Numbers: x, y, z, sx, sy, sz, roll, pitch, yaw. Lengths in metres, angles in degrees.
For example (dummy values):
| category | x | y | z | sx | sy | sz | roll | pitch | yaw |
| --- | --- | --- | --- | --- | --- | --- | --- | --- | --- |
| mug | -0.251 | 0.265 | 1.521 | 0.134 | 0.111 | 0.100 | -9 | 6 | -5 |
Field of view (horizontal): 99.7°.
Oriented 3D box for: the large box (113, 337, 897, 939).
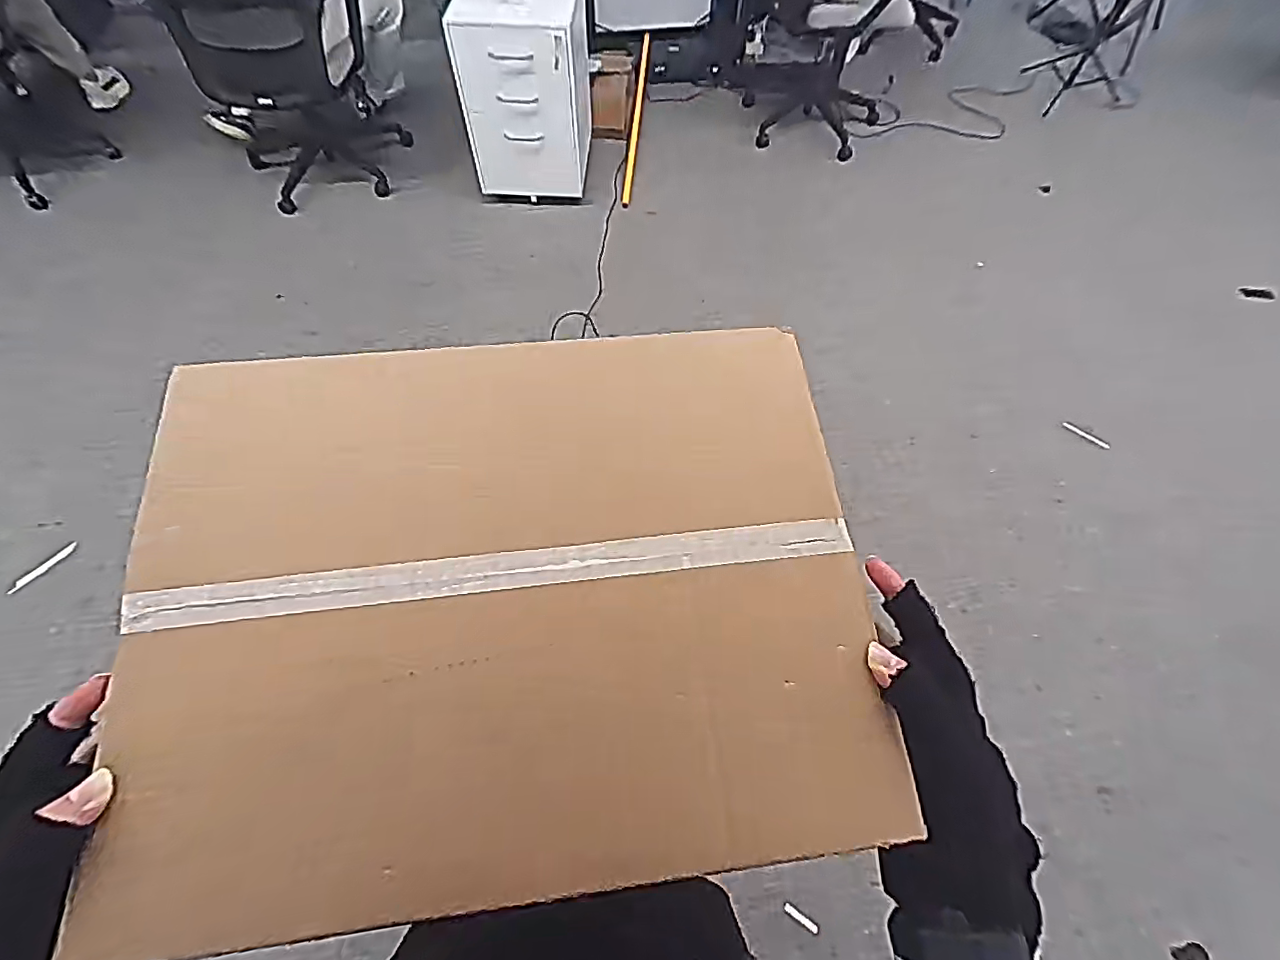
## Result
| category | x | y | z | sx | sy | sz | roll | pitch | yaw |
| --- | --- | --- | --- | --- | --- | --- | --- | --- | --- |
| large box | -0.083 | 0.110 | 0.465 | 0.408 | 0.320 | 0.320 | -5 | 70 | -6 |
